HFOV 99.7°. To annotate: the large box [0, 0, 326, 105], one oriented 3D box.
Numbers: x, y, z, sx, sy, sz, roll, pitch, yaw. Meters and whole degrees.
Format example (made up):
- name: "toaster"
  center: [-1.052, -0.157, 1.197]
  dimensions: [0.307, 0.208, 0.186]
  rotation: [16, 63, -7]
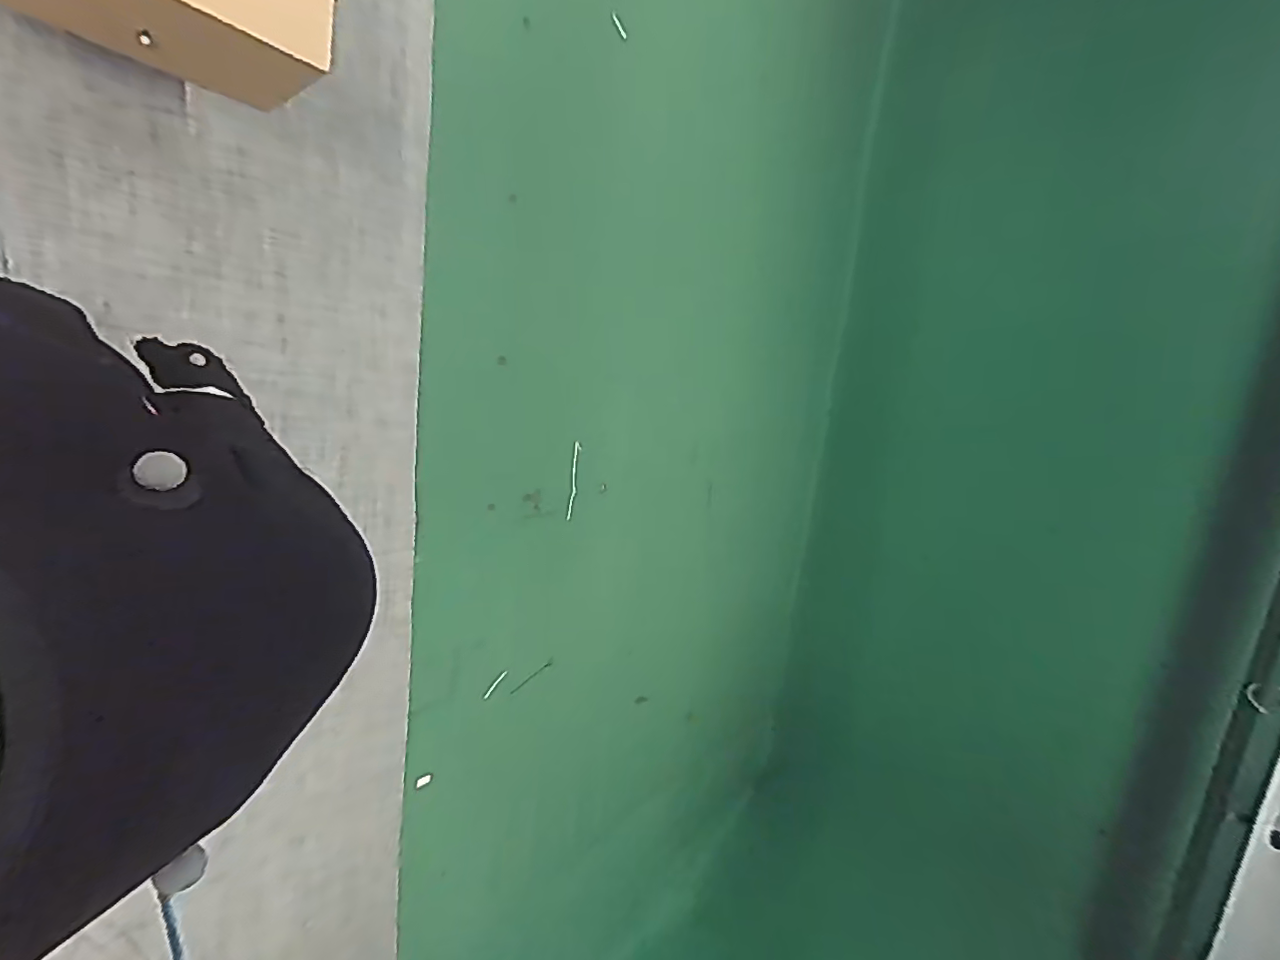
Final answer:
- name: "large box"
  center: [-0.735, -0.838, 0.800]
  dimensions: [0.408, 0.320, 0.320]
  rotation: [-4, 104, -50]
